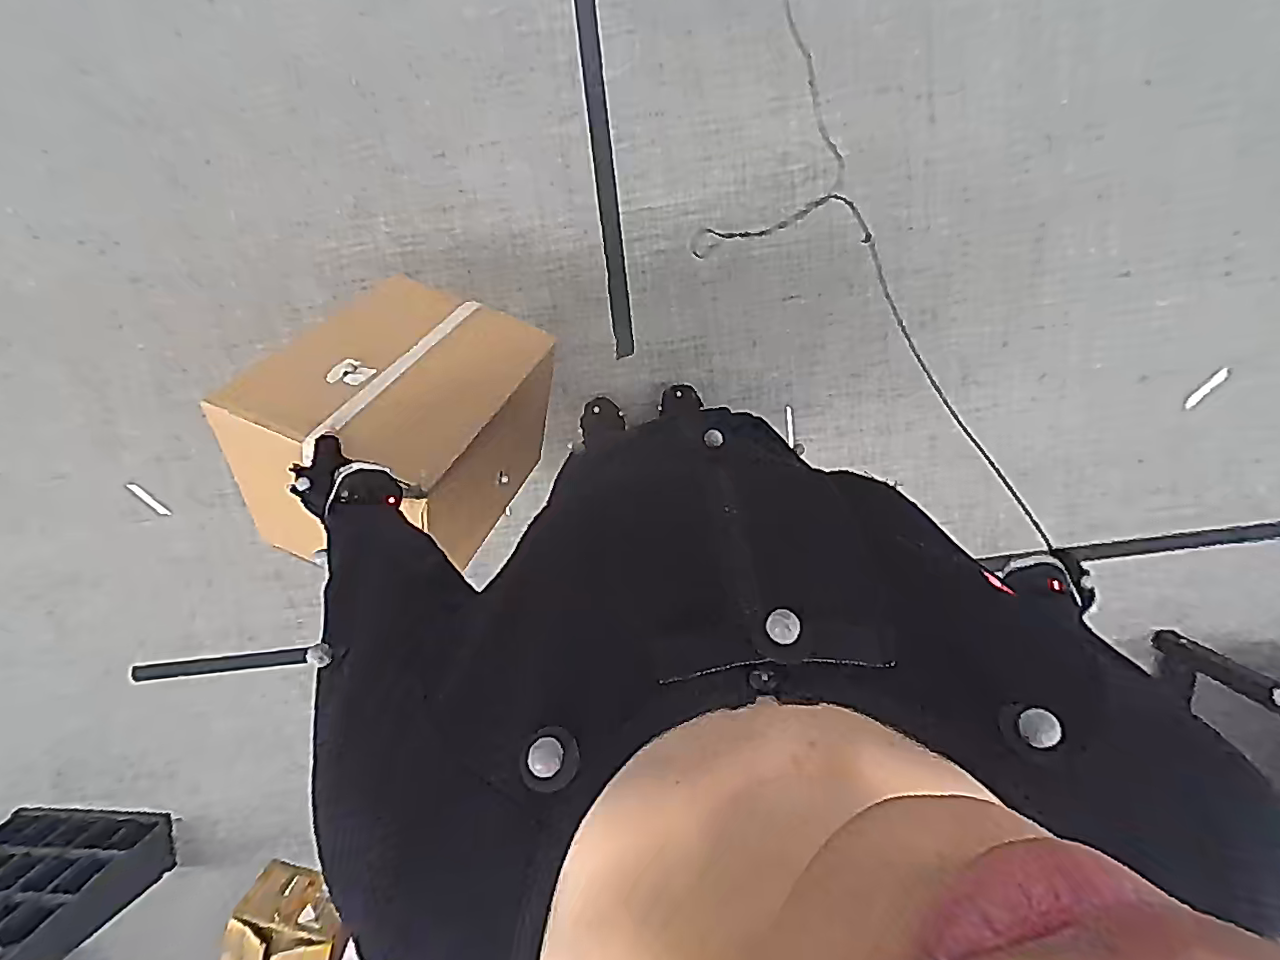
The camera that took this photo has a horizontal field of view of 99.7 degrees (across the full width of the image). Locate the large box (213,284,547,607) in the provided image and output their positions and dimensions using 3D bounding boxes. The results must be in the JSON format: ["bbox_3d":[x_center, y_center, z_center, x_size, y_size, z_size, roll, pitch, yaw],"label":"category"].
[{"bbox_3d":[-0.392,-0.066,0.933,0.320,0.408,0.320,22,136,3],"label":"large box"}]
